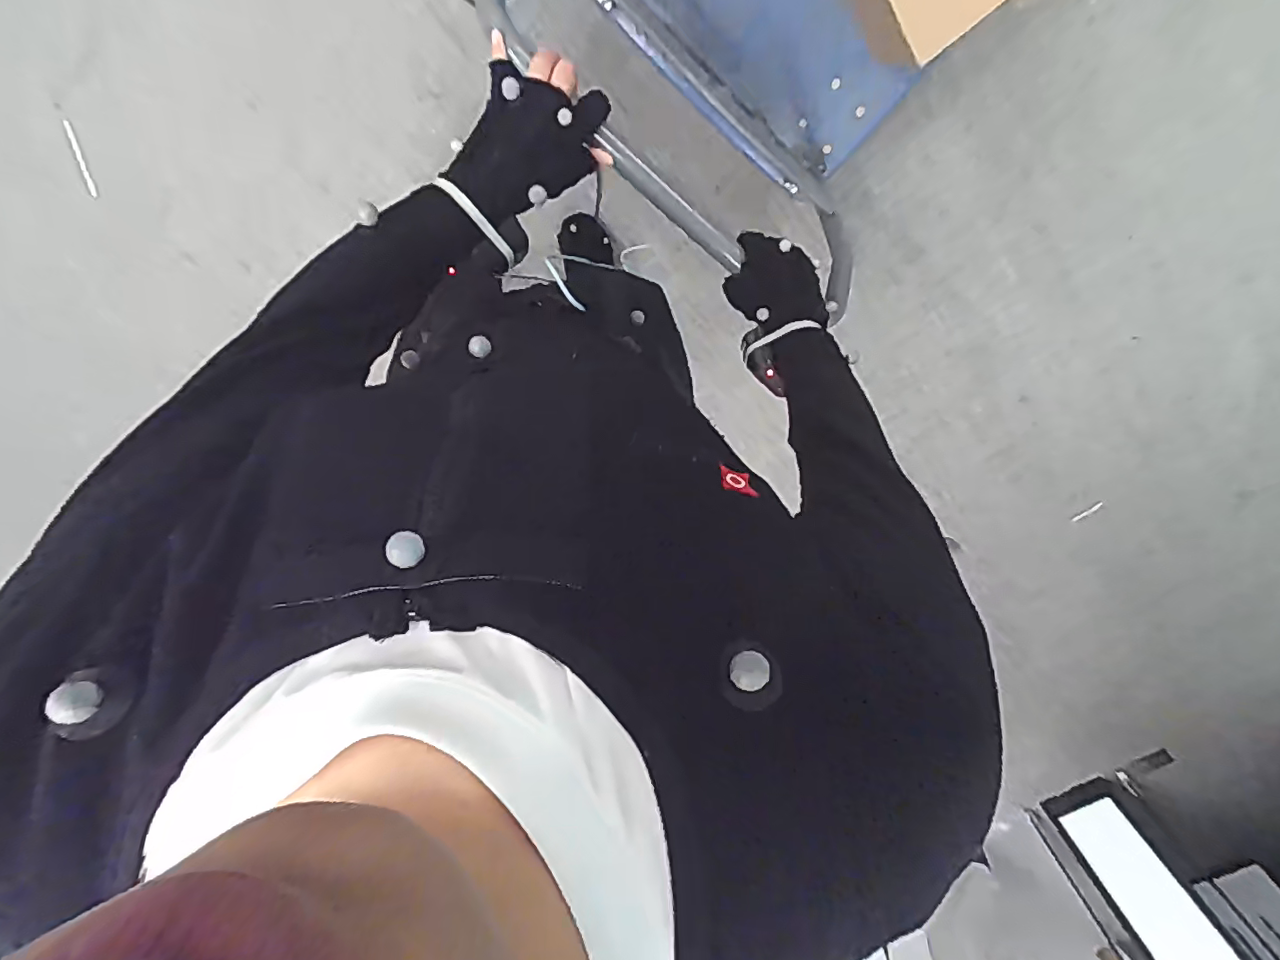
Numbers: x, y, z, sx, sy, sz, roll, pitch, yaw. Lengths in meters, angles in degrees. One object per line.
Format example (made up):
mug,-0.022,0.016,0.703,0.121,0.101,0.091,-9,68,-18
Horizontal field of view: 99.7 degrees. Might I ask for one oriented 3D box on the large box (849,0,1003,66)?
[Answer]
large box,0.396,-0.861,0.712,0.320,0.320,0.408,-30,119,29
